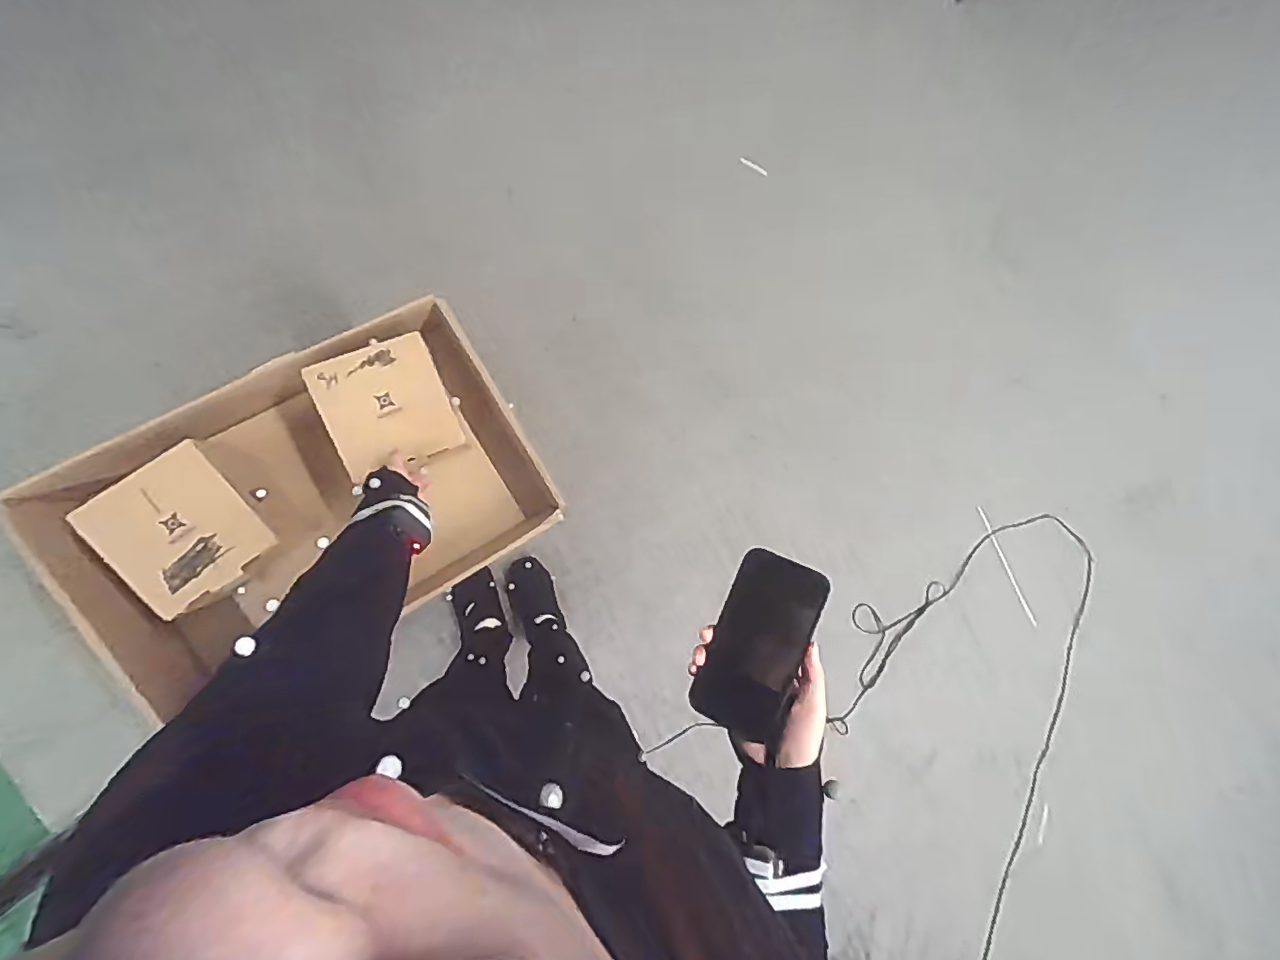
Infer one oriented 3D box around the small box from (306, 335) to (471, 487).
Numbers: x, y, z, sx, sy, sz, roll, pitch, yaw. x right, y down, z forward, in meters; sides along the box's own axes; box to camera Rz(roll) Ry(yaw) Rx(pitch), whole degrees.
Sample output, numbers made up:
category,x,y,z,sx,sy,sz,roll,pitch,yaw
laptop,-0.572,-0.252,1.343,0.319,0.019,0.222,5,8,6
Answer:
category,x,y,z,sx,sy,sz,roll,pitch,yaw
small box,-0.373,-0.102,0.841,0.168,0.176,0.179,-24,97,-14
